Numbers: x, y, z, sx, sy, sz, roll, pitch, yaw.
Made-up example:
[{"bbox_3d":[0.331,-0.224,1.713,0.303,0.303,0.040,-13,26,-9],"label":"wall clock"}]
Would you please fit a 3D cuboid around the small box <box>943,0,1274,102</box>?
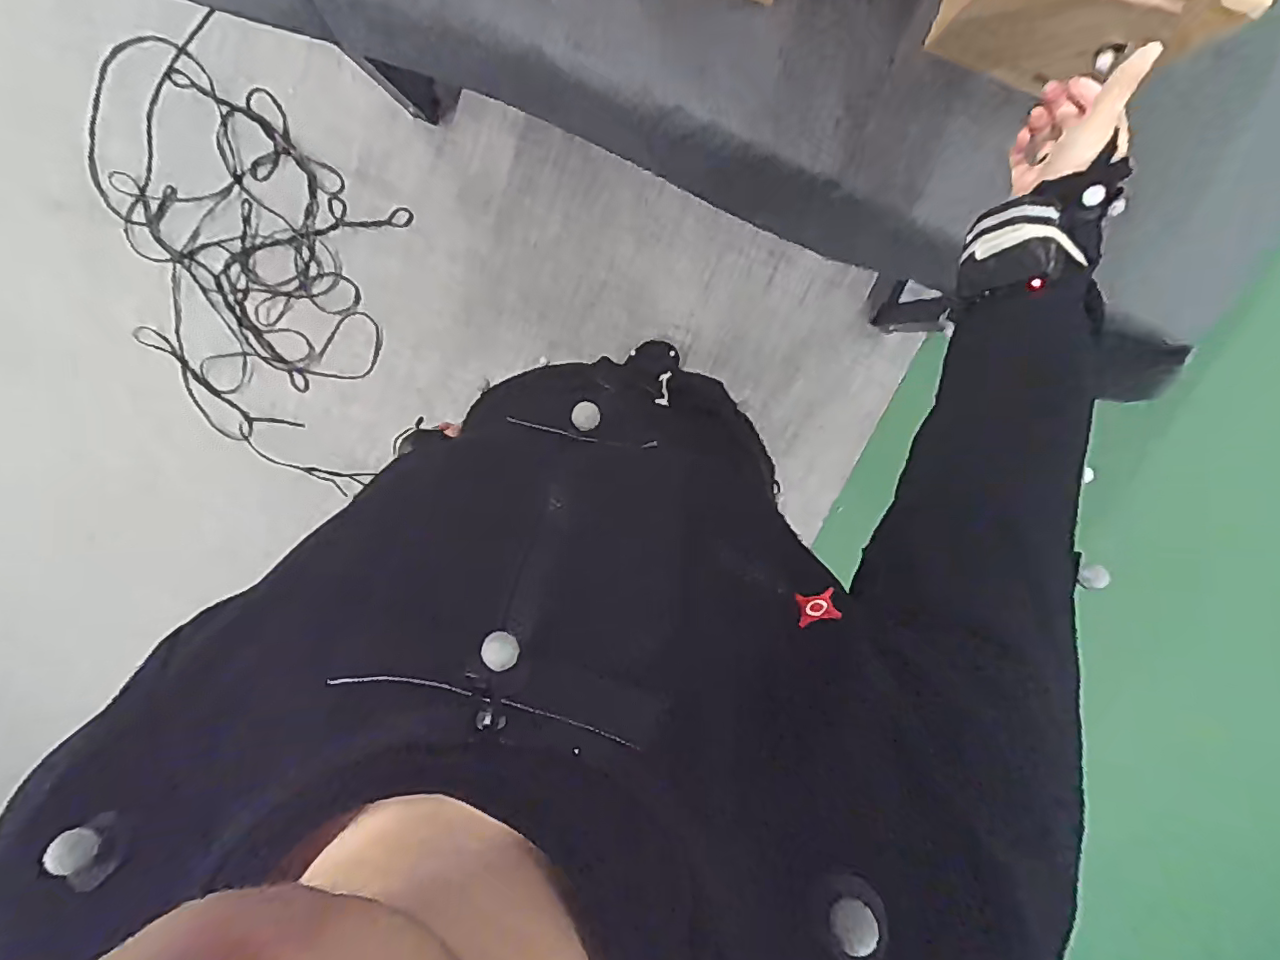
[{"bbox_3d":[0.372,-0.436,0.413,0.168,0.176,0.179,17,103,-5],"label":"small box"}]
